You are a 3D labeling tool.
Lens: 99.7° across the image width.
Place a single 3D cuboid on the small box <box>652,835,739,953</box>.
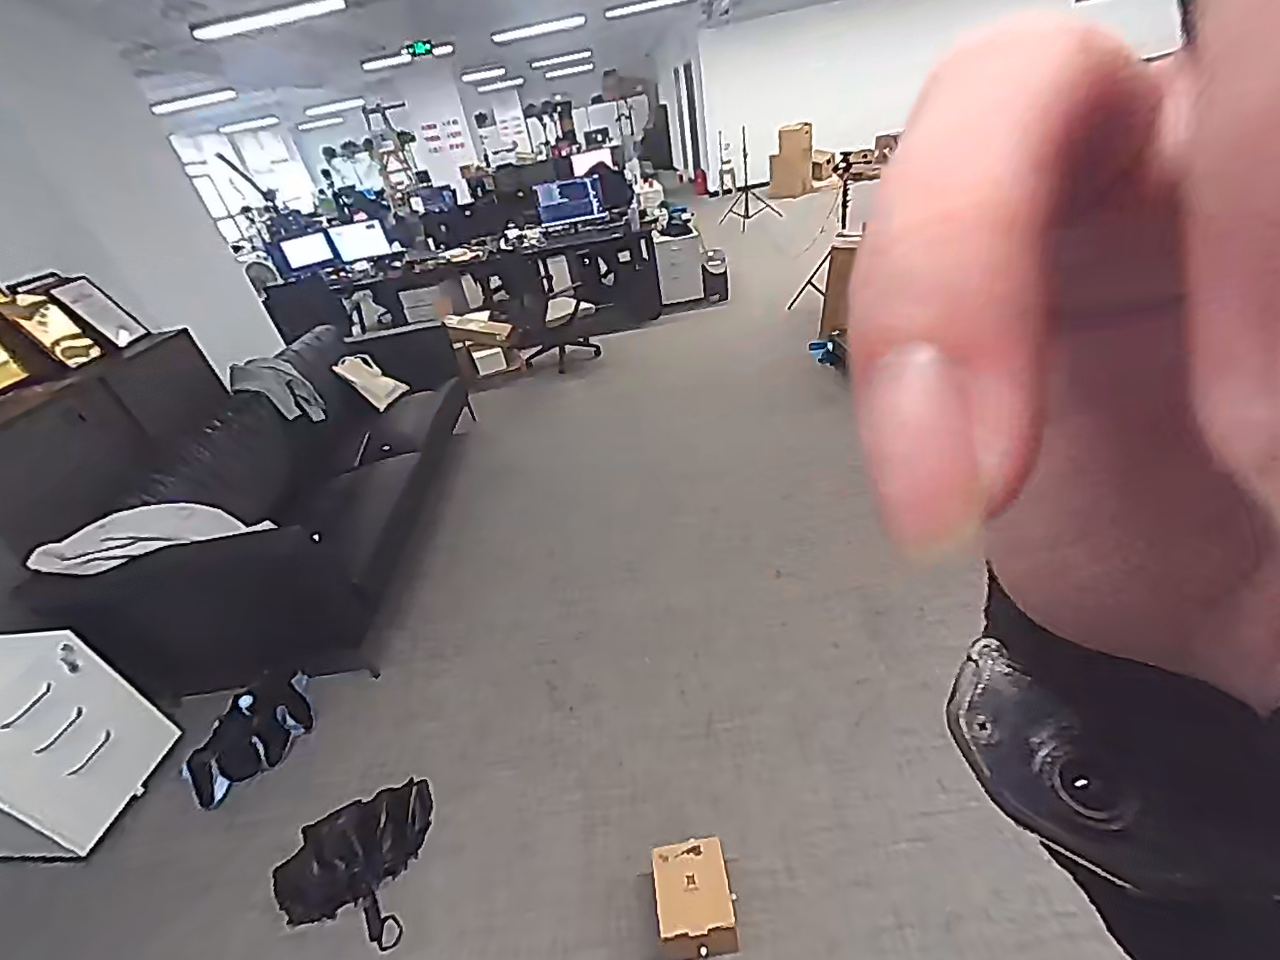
[{"bbox_3d":[0.129,0.969,1.261,0.168,0.176,0.179,-12,36,1],"label":"small box"}]
